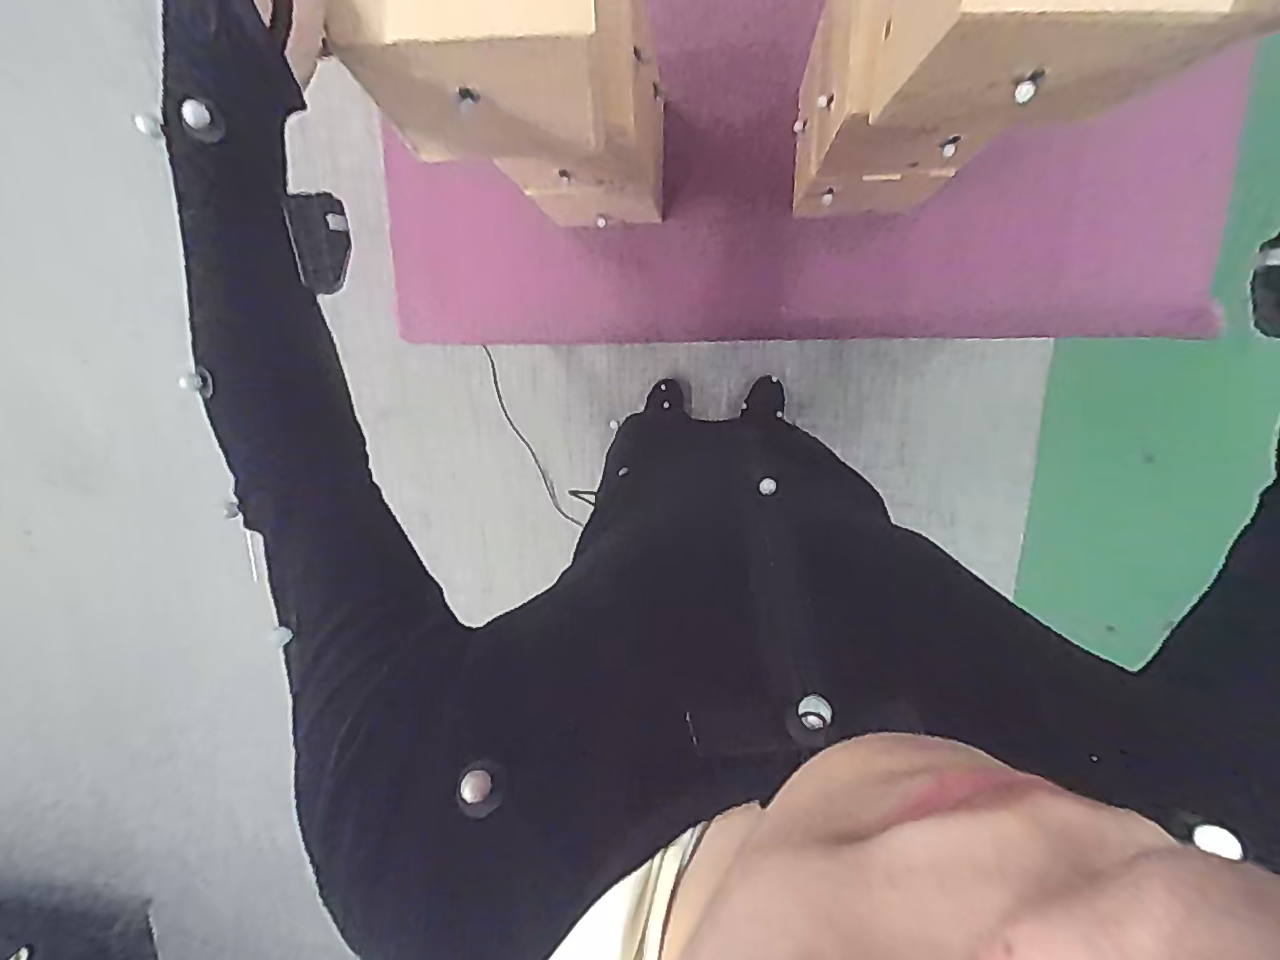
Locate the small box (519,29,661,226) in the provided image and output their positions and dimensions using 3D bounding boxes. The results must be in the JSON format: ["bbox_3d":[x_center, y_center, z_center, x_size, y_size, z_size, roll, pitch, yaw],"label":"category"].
[{"bbox_3d":[-0.062,-0.463,0.738,0.168,0.176,0.179,2,102,8],"label":"small box"}]

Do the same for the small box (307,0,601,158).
[{"bbox_3d":[-0.125,-0.368,0.410,0.179,0.176,0.168,-3,98,-1],"label":"small box"}]

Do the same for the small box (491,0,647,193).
[{"bbox_3d":[-0.084,-0.432,0.579,0.168,0.176,0.179,0,102,7],"label":"small box"}]

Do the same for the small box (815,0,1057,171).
[{"bbox_3d":[0.273,-0.423,0.531,0.168,0.176,0.179,1,101,7],"label":"small box"}]
